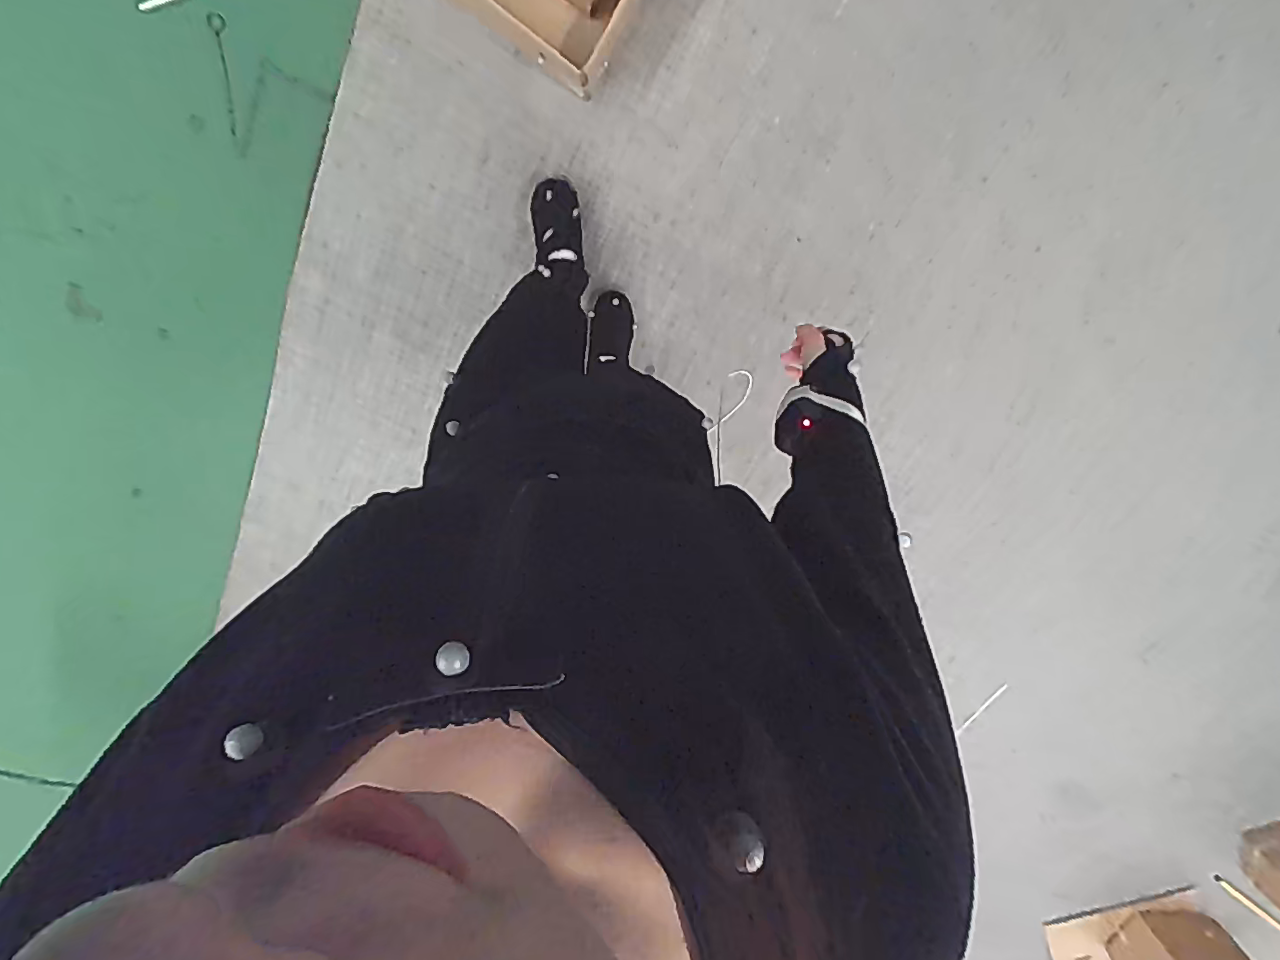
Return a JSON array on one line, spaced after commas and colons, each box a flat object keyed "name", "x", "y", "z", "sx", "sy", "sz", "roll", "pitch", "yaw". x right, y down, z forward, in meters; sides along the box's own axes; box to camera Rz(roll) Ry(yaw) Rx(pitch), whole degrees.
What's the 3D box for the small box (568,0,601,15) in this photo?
[{"name": "small box", "x": -0.119, "y": -0.985, "z": 0.956, "sx": 0.168, "sy": 0.176, "sz": 0.179, "roll": 28, "pitch": 112, "yaw": -14}]
